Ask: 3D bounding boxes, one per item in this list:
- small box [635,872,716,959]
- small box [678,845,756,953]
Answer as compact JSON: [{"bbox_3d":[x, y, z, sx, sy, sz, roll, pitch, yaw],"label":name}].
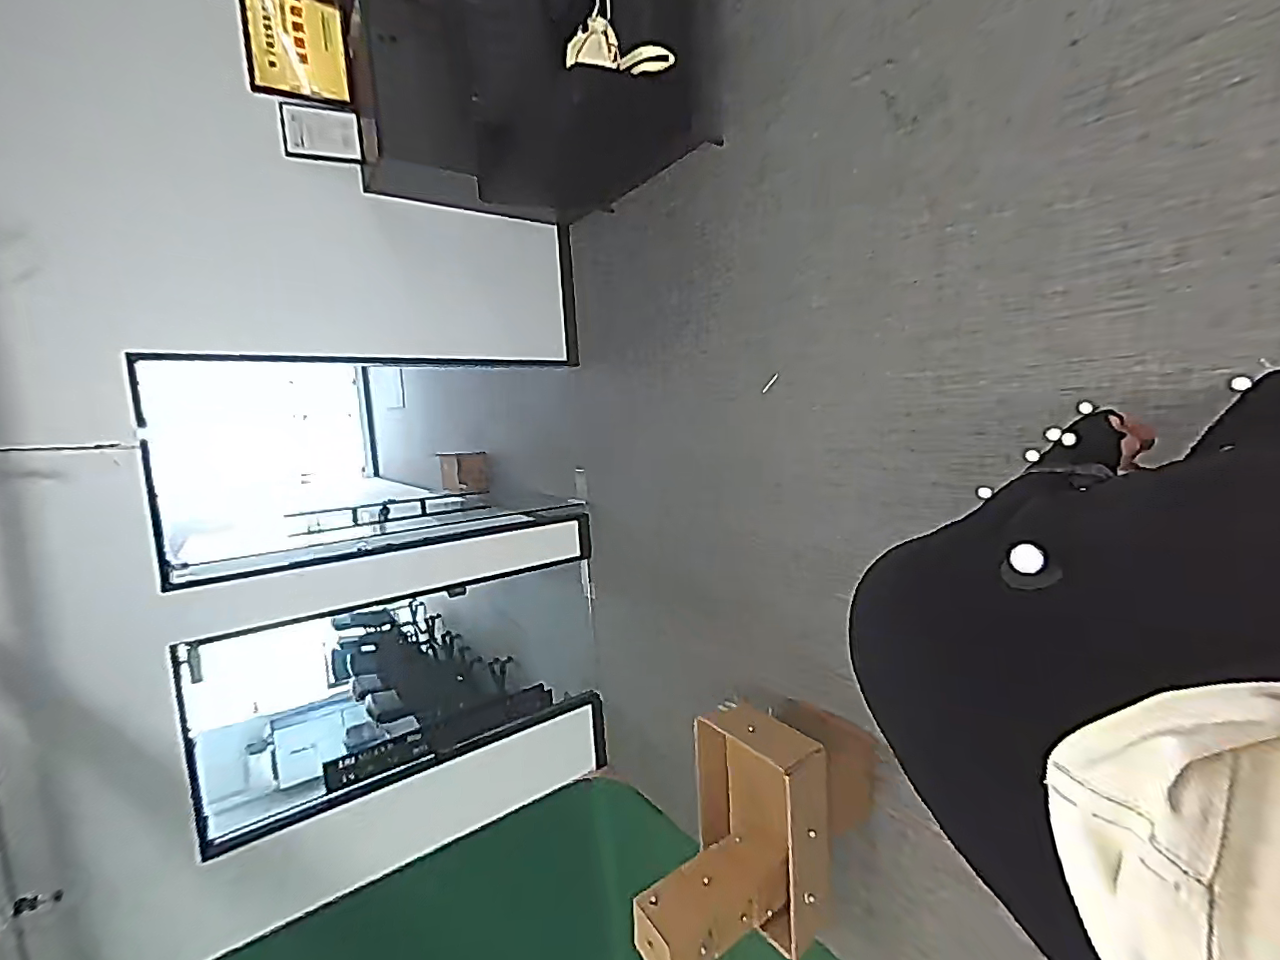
[{"bbox_3d":[0.100,1.291,1.569,0.179,0.176,0.168,14,108,53],"label":"small box"},{"bbox_3d":[0.236,1.272,1.662,0.179,0.176,0.168,10,105,54],"label":"small box"}]
